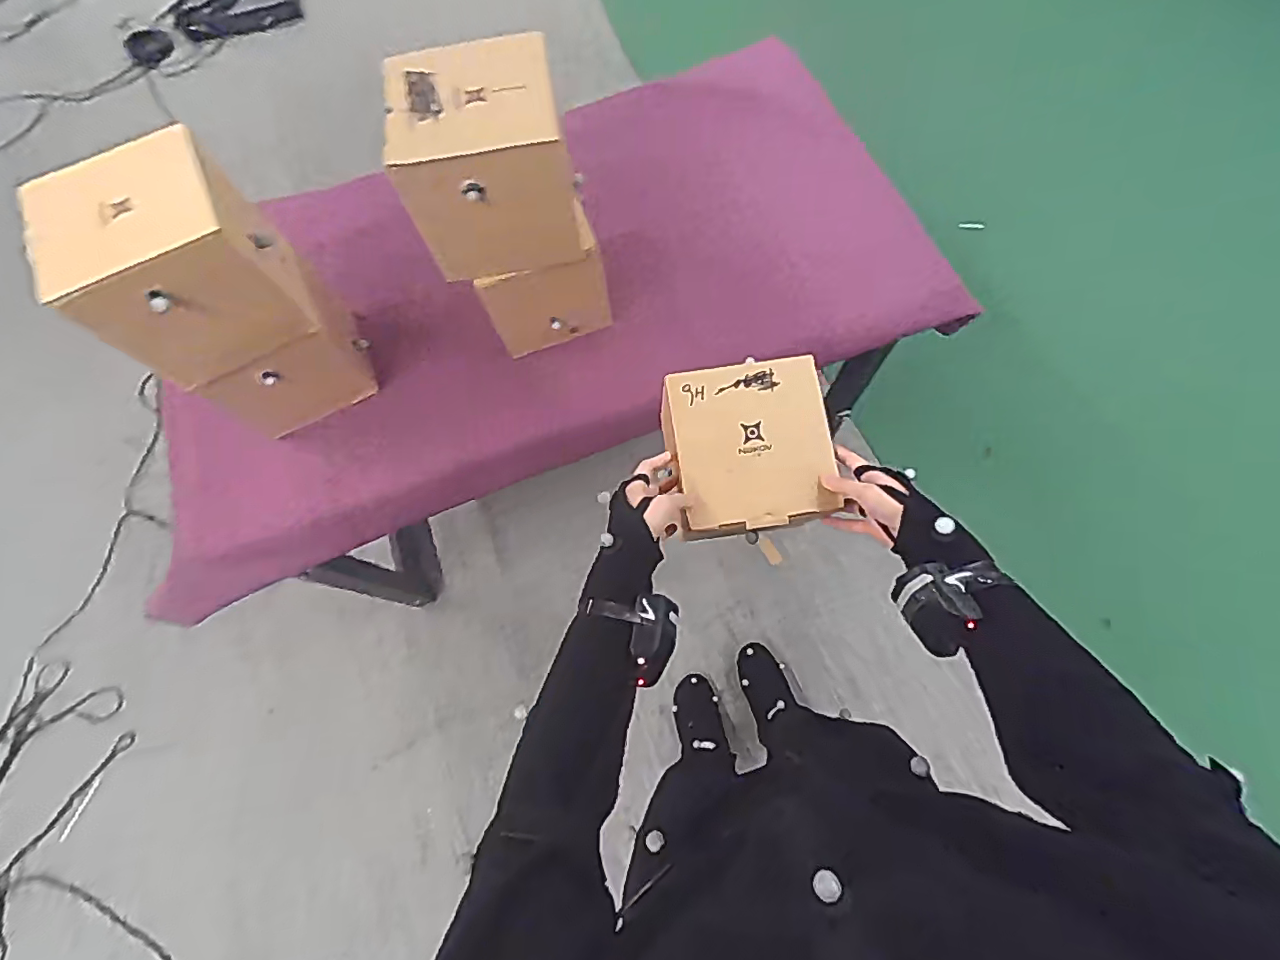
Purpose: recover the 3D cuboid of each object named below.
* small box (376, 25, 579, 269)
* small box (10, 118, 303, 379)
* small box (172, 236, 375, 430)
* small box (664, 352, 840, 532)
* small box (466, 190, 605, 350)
[{"bbox_3d":[-0.178,-0.370,0.626,0.179,0.176,0.168,-10,71,0],"label":"small box"},{"bbox_3d":[-0.517,-0.246,0.607,0.179,0.176,0.168,-28,73,-5],"label":"small box"},{"bbox_3d":[-0.515,-0.196,0.761,0.179,0.176,0.168,-26,72,-6],"label":"small box"},{"bbox_3d":[0.121,-0.032,0.650,0.168,0.176,0.179,-7,81,0],"label":"small box"},{"bbox_3d":[-0.159,-0.322,0.783,0.168,0.176,0.179,-20,71,-3],"label":"small box"}]
